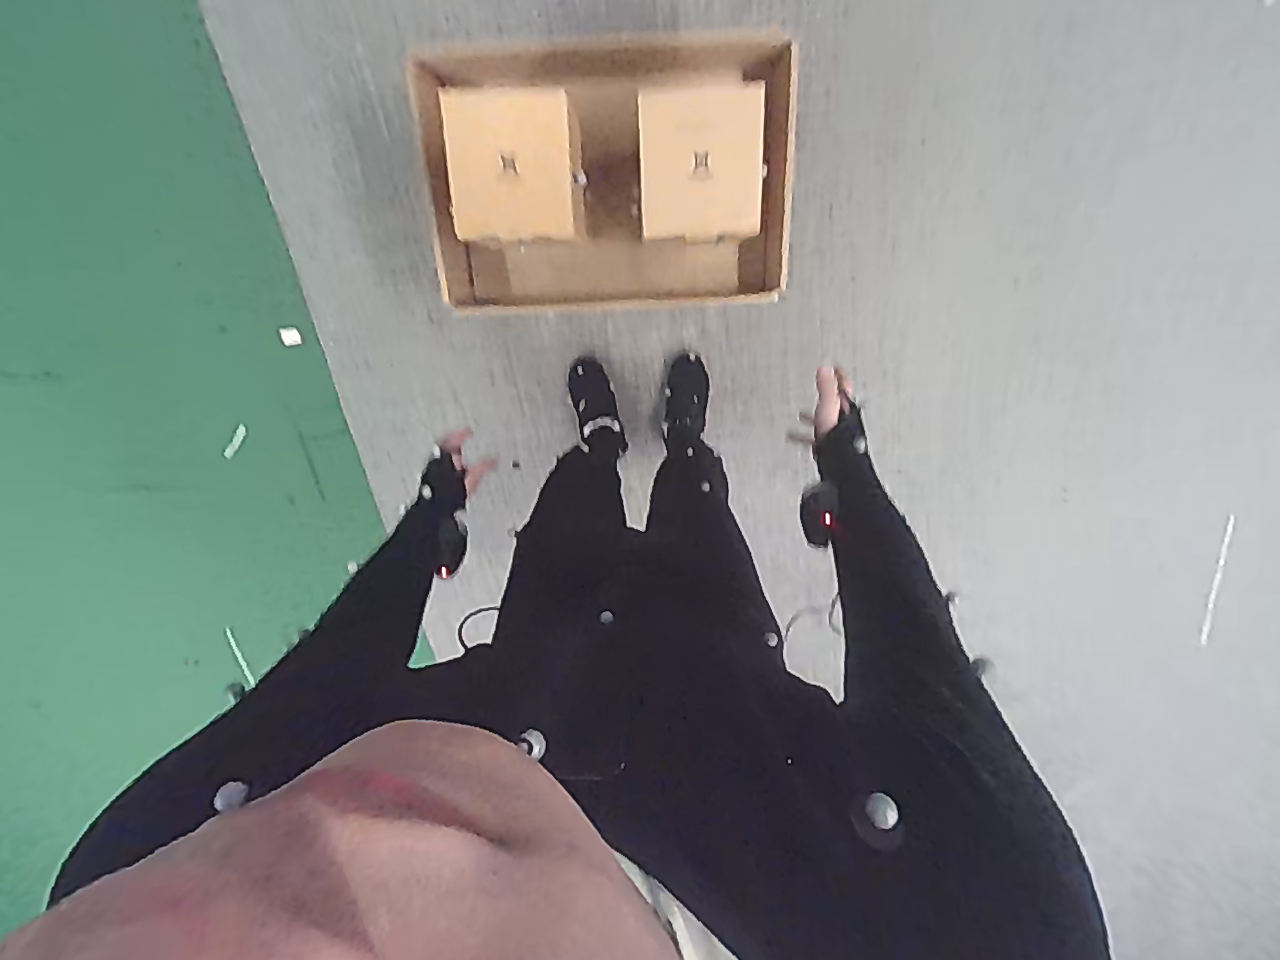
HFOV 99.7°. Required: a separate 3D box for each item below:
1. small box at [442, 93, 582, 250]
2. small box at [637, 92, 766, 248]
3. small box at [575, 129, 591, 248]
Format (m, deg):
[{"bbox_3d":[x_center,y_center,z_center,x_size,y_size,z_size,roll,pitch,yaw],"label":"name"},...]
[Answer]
[{"bbox_3d":[-0.176,-0.439,0.796,0.168,0.176,0.179,0,110,-1],"label":"small box"},{"bbox_3d":[0.081,-0.439,0.792,0.168,0.176,0.179,-2,110,0],"label":"small box"},{"bbox_3d":[-0.183,-0.500,0.948,0.179,0.176,0.168,-1,110,0],"label":"small box"}]
